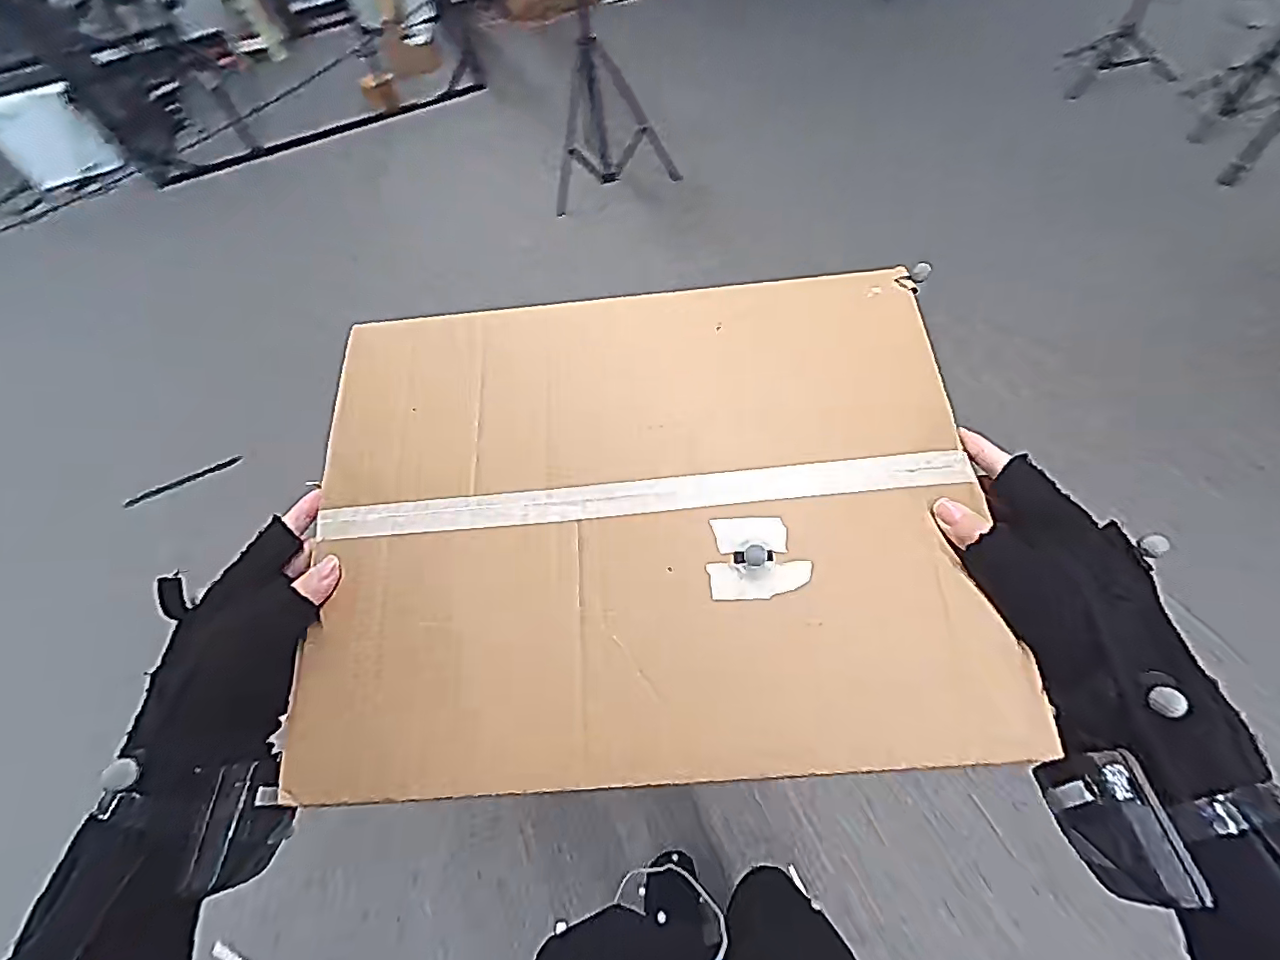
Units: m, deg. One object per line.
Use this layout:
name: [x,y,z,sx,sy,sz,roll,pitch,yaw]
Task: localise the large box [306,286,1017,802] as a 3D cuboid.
large box: [0.003,0.072,0.490,0.408,0.320,0.320,-6,68,1]
